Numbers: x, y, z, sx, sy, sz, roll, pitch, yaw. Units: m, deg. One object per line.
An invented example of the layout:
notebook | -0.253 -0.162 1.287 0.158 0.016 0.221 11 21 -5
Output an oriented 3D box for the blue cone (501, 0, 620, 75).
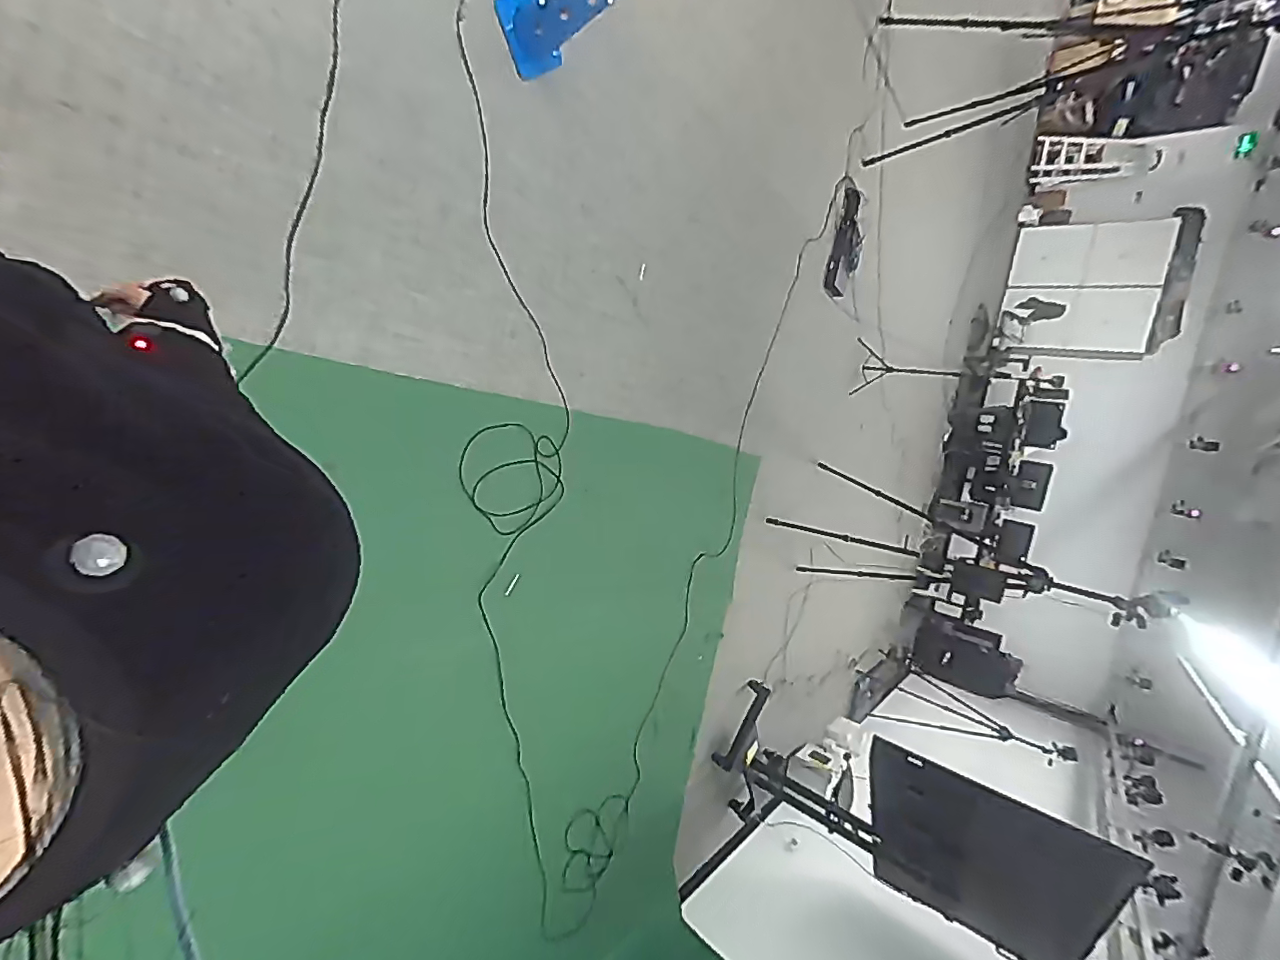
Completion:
blue cone | -0.197 -1.322 1.521 0.193 0.380 0.192 -52 135 -31
